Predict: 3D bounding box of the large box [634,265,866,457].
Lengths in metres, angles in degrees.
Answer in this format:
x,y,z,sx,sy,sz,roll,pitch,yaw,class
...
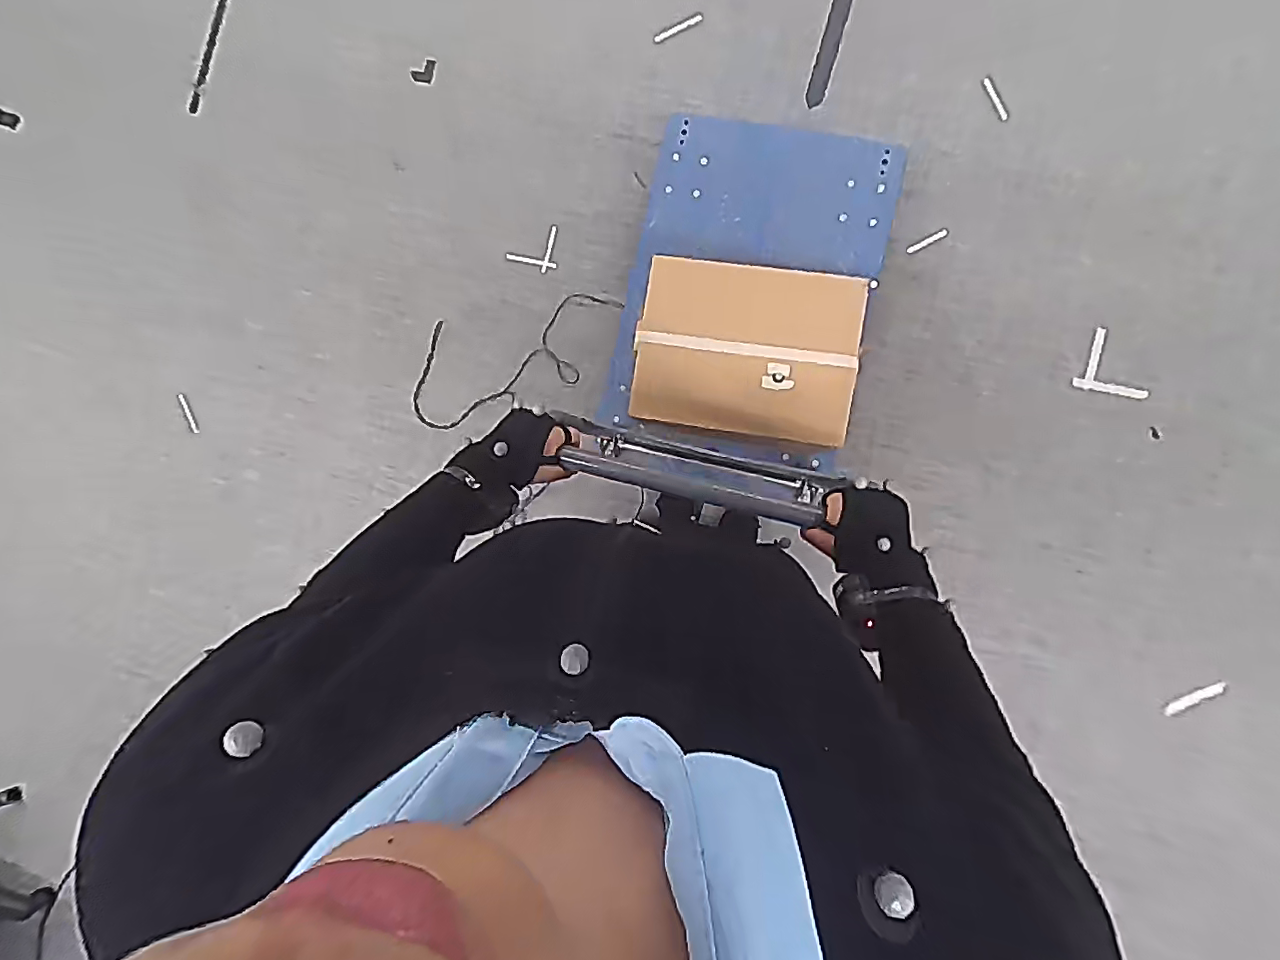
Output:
x,y,z,sx,sy,sz,roll,pitch,yaw,class
0.216,-0.234,1.165,0.408,0.320,0.320,9,91,6,large box
